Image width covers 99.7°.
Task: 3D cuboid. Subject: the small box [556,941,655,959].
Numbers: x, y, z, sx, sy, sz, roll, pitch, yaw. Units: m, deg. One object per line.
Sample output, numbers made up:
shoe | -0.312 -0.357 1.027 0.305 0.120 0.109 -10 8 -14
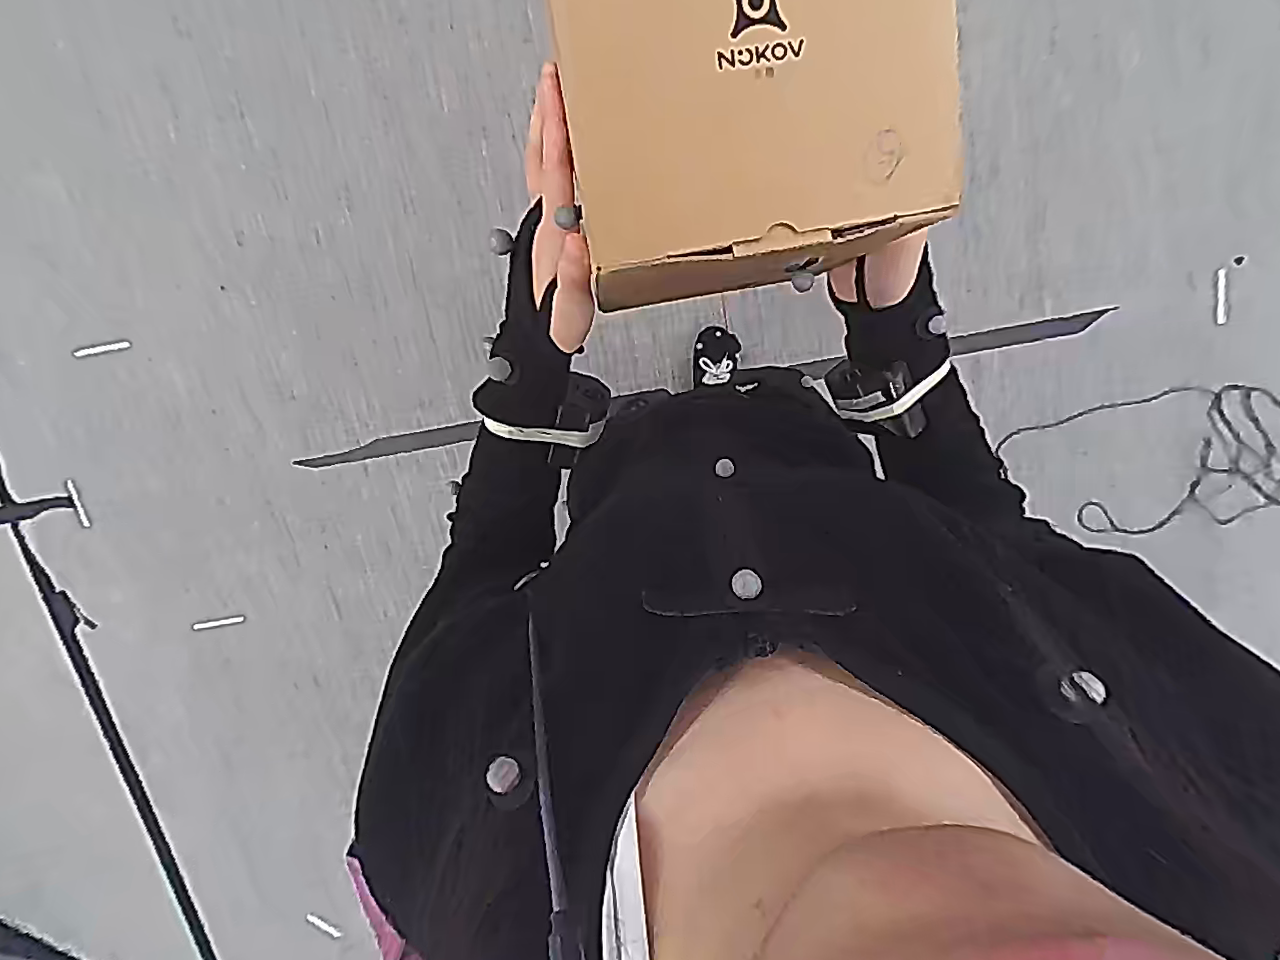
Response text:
small box | -0.050 0.867 0.834 0.168 0.176 0.179 -5 101 0

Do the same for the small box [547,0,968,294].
small box | 0.043 -0.207 0.293 0.168 0.176 0.179 -11 101 -3
